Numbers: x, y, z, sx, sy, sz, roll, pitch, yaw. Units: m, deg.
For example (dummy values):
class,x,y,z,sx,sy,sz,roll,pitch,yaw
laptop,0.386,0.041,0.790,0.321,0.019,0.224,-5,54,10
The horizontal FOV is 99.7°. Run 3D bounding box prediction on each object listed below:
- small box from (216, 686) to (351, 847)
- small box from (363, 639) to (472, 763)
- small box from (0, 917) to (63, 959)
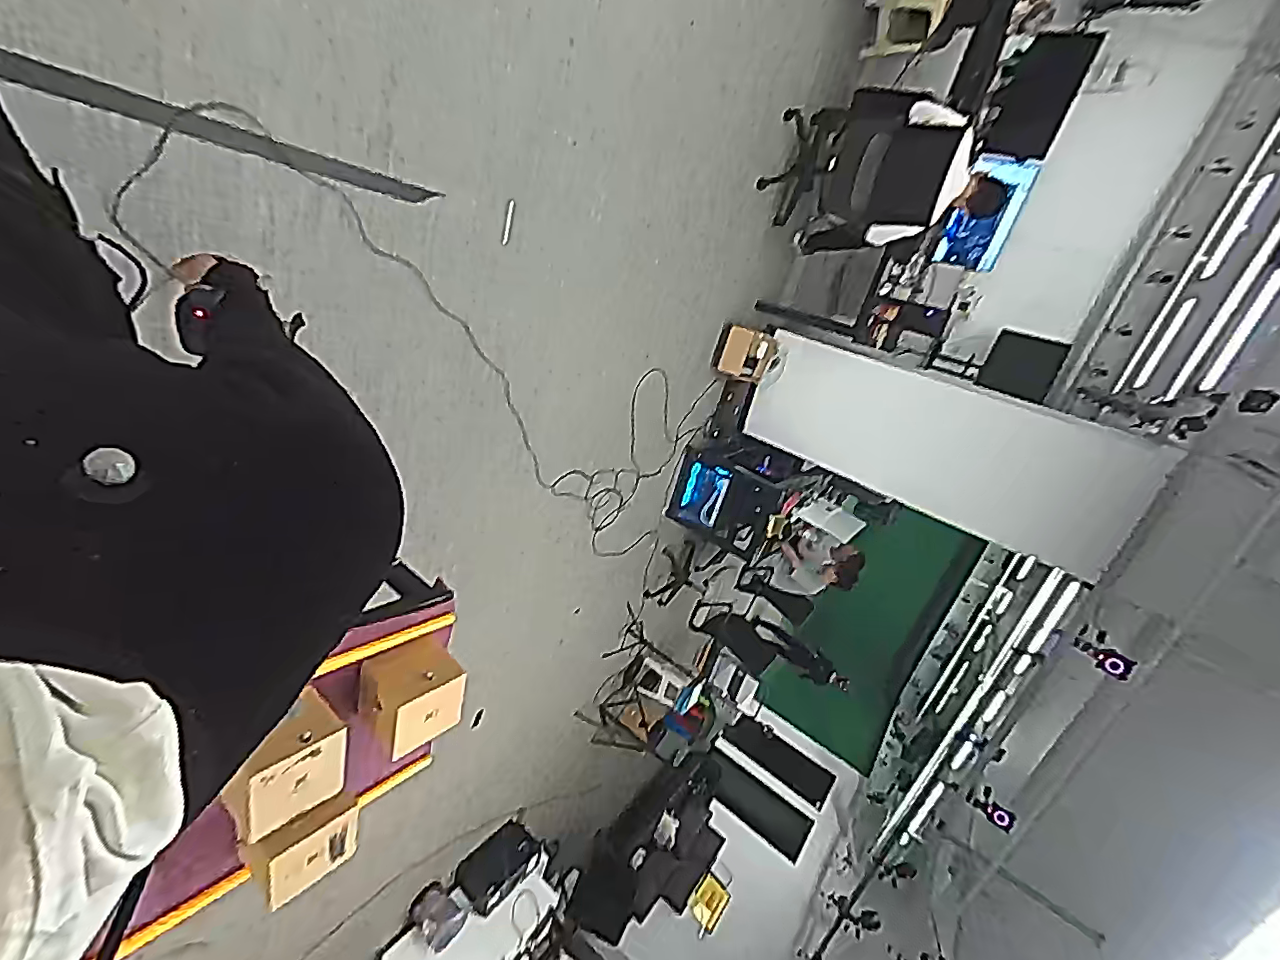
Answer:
class,x,y,z,sx,sy,sz,roll,pitch,yaw
small box,-0.687,0.540,1.042,0.168,0.176,0.179,-16,128,-54
small box,-0.527,0.509,1.272,0.179,0.176,0.168,-16,128,-51
small box,-0.985,0.832,0.813,0.179,0.176,0.168,-20,129,-52
